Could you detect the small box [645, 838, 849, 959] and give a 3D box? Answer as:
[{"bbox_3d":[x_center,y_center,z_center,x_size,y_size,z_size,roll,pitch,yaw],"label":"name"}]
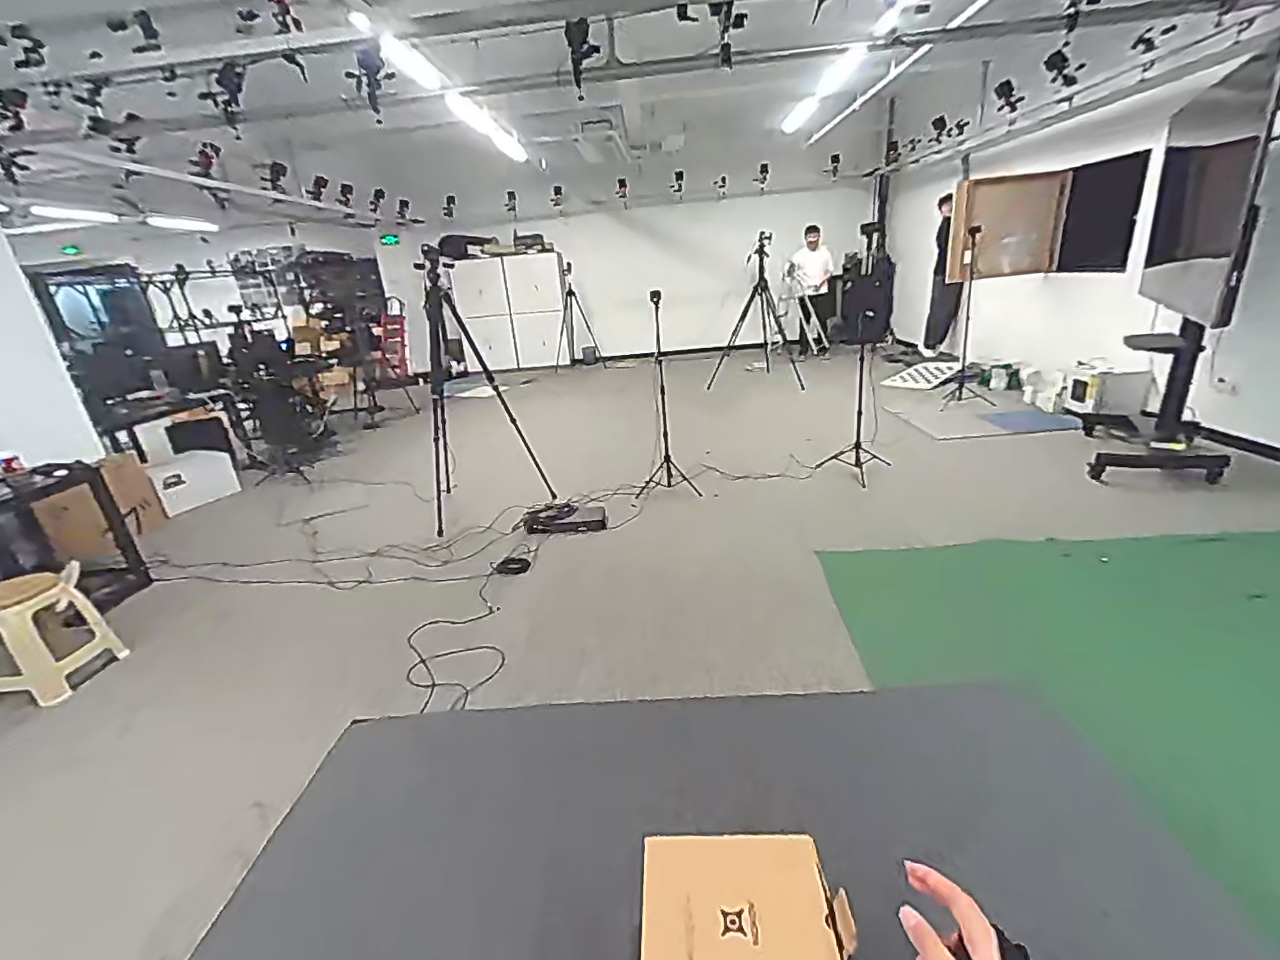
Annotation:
[{"bbox_3d":[0.099,0.478,0.512,0.179,0.176,0.168,-5,18,5],"label":"small box"}]
